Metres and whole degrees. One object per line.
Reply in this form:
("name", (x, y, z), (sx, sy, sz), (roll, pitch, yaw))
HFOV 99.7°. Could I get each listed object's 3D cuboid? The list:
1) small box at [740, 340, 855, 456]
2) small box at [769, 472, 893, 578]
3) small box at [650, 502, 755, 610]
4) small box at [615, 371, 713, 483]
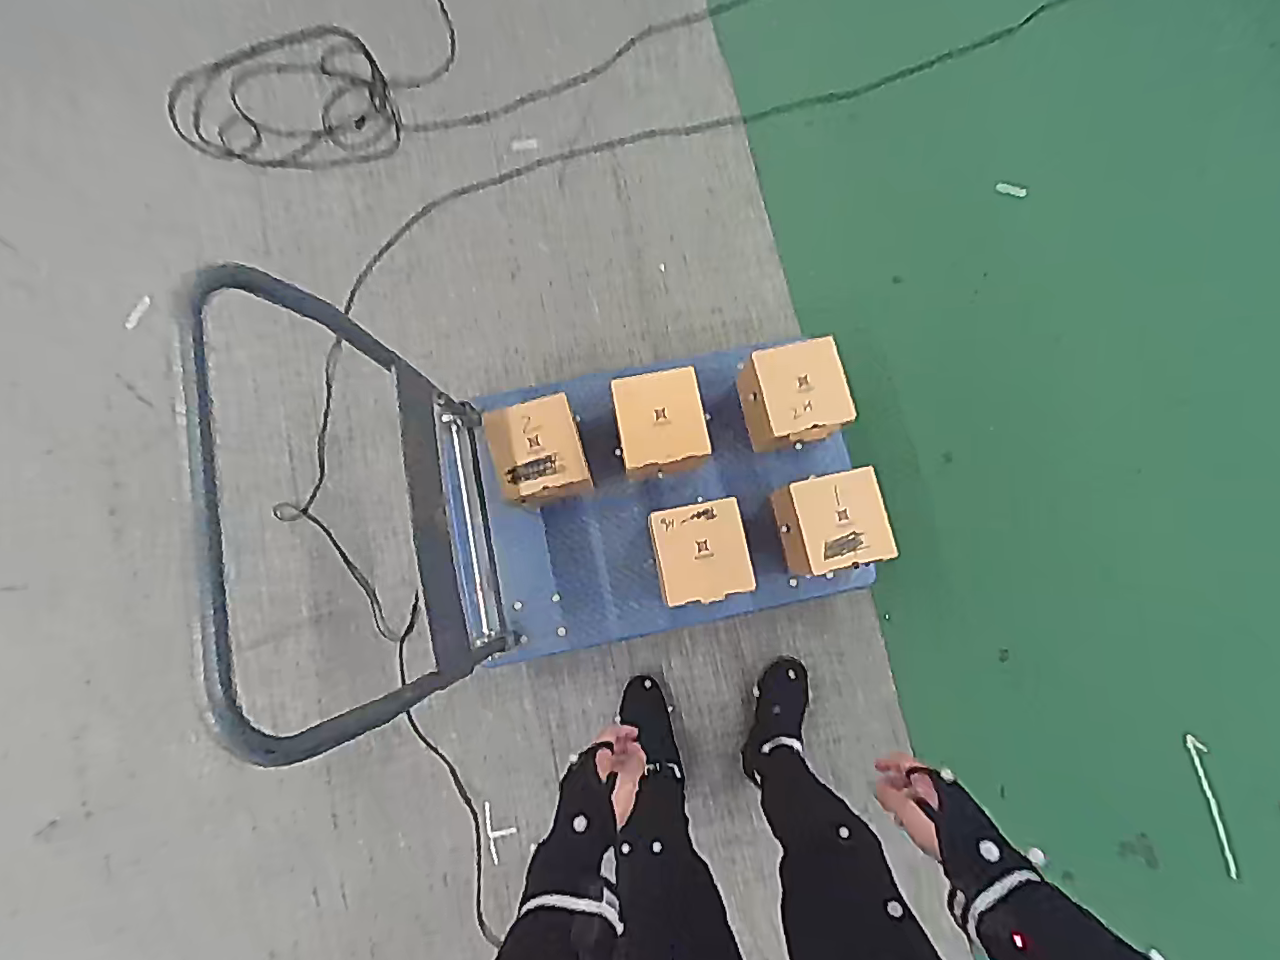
("small box", (0.314, -0.163, 1.119), (0.168, 0.176, 0.179), (-12, 81, -2))
("small box", (0.377, 0.095, 1.097), (0.168, 0.176, 0.179), (-12, 81, -3))
("small box", (0.115, 0.148, 1.067), (0.168, 0.176, 0.179), (-10, 82, -3))
("small box", (0.041, -0.103, 1.108), (0.168, 0.176, 0.179), (-11, 83, -3))
